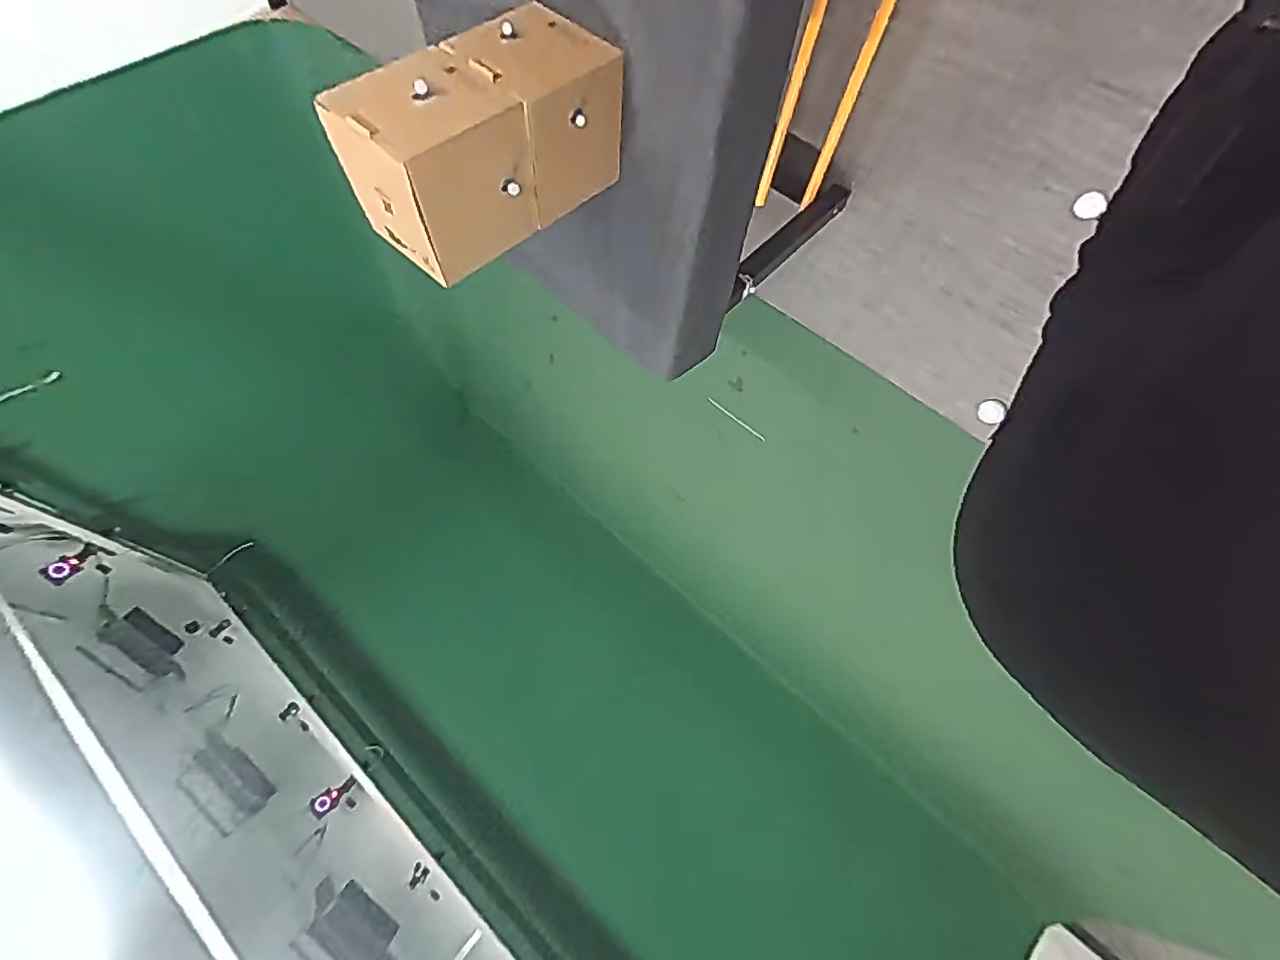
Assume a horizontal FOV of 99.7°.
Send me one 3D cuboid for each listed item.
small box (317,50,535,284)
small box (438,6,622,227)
[{"bbox_3d":[-0.254,-0.397,0.687,0.168,0.176,0.179,40,157,15],"label":"small box"},{"bbox_3d":[-0.139,-0.500,0.744,0.168,0.176,0.179,41,158,15],"label":"small box"}]
